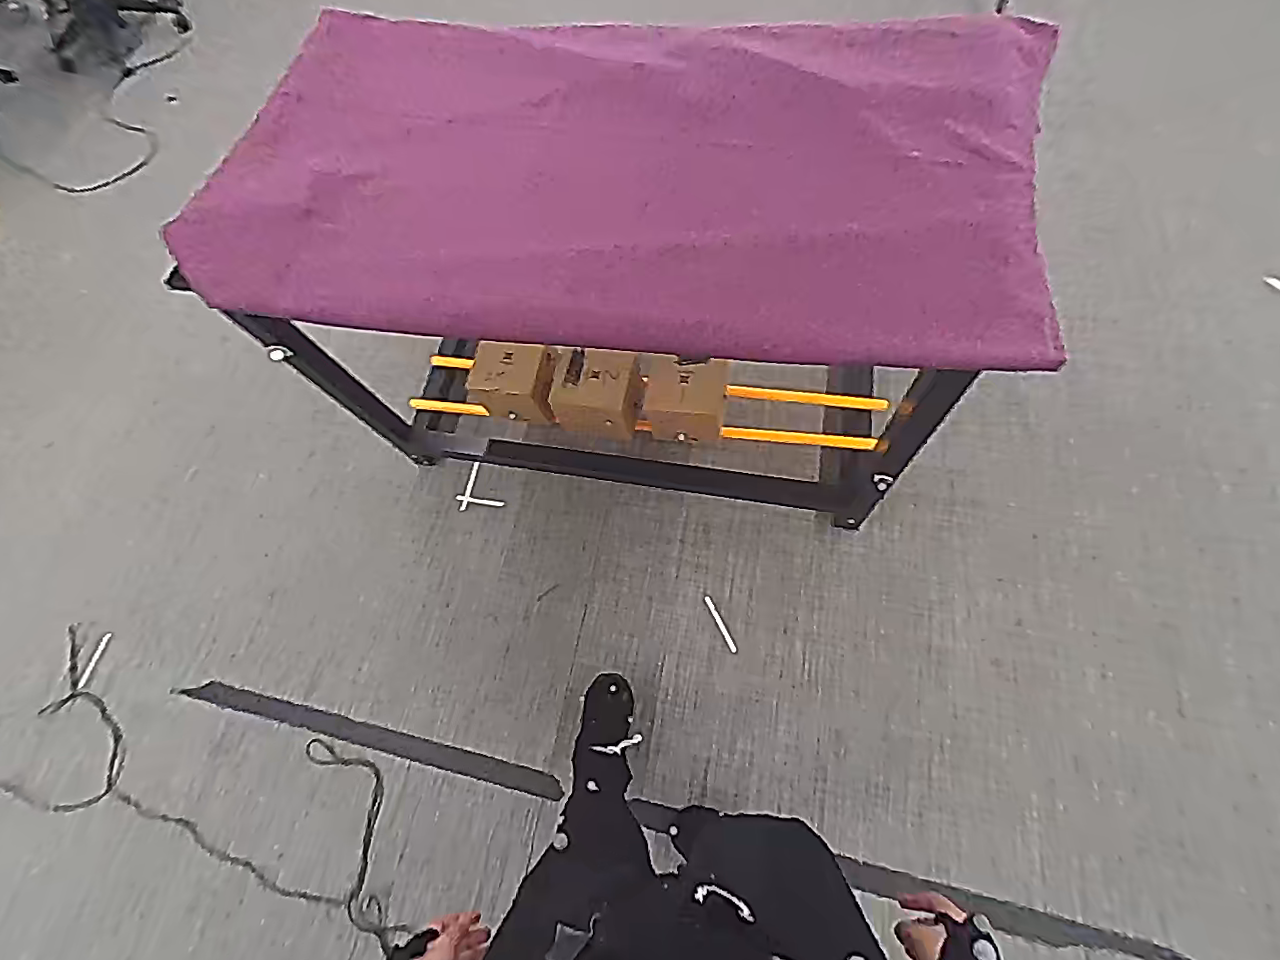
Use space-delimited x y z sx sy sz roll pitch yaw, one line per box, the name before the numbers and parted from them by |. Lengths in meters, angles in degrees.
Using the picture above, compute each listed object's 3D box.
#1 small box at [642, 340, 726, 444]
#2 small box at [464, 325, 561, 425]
small box | 0.109 -0.202 1.263 0.168 0.176 0.179 6 72 12
small box | -0.307 -0.257 1.342 0.168 0.176 0.179 8 73 10
